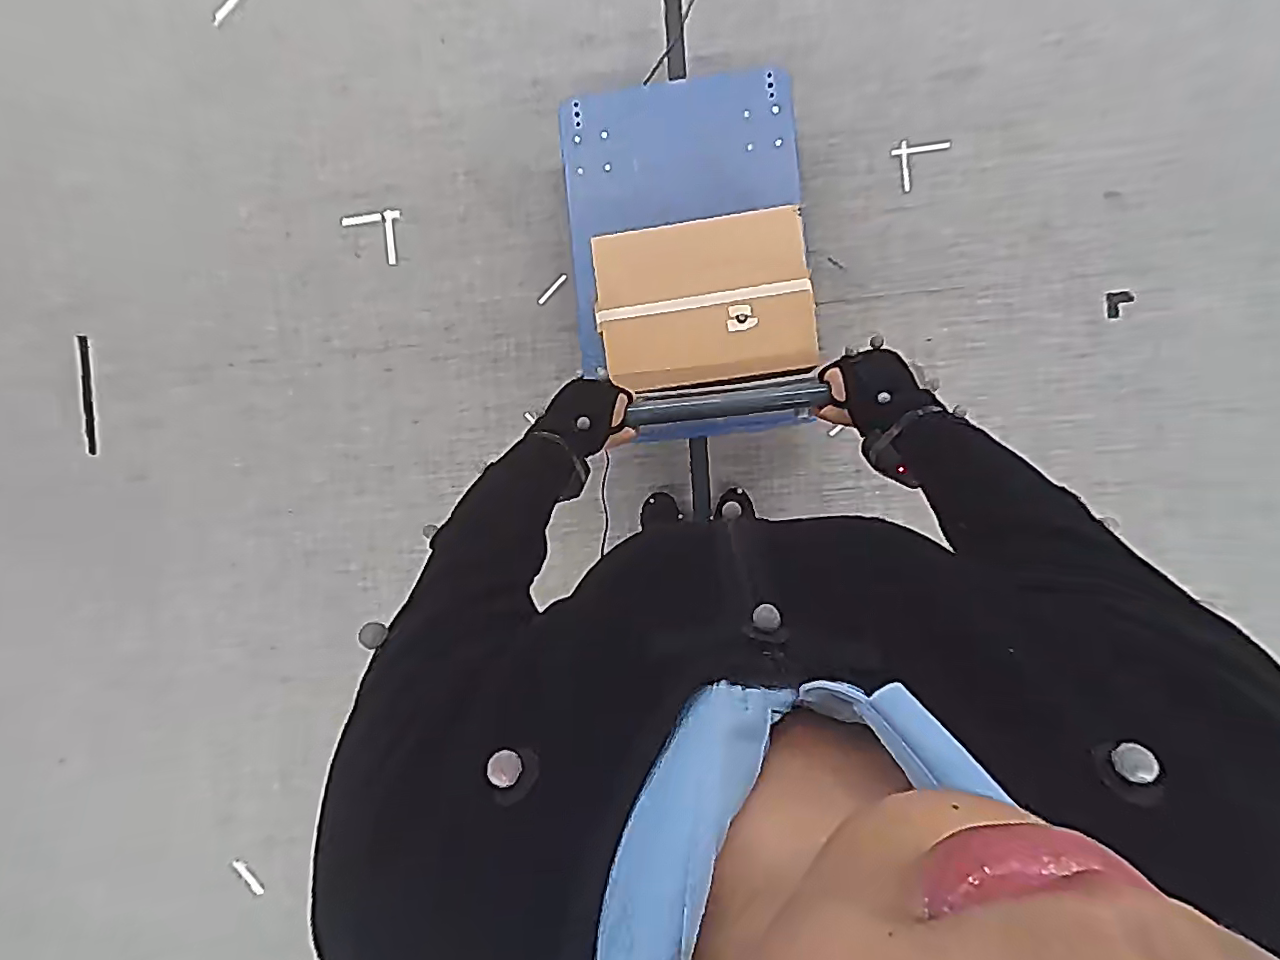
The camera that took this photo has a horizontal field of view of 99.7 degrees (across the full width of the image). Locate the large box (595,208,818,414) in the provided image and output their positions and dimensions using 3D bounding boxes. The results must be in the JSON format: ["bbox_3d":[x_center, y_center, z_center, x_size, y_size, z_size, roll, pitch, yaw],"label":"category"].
[{"bbox_3d":[0.136,-0.345,1.201,0.408,0.320,0.320,-8,90,4],"label":"large box"}]
